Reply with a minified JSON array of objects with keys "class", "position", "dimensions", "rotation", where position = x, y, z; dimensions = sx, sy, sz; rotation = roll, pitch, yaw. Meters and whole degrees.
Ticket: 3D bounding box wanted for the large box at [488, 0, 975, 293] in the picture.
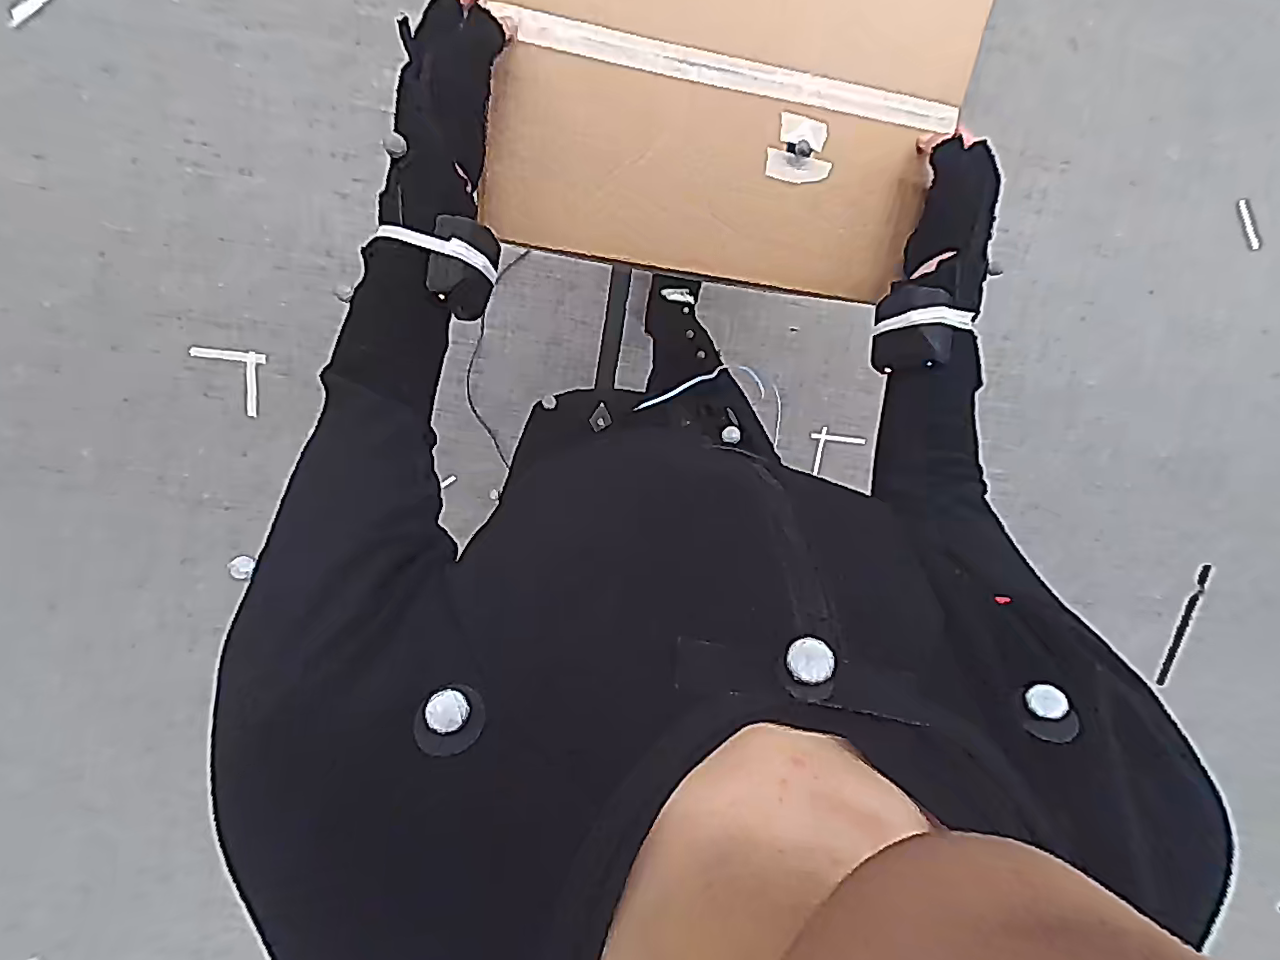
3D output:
[{"class":"large box","position":[0.060,-0.400,0.601],"dimensions":[0.408,0.320,0.320],"rotation":[6,111,-10]}]
